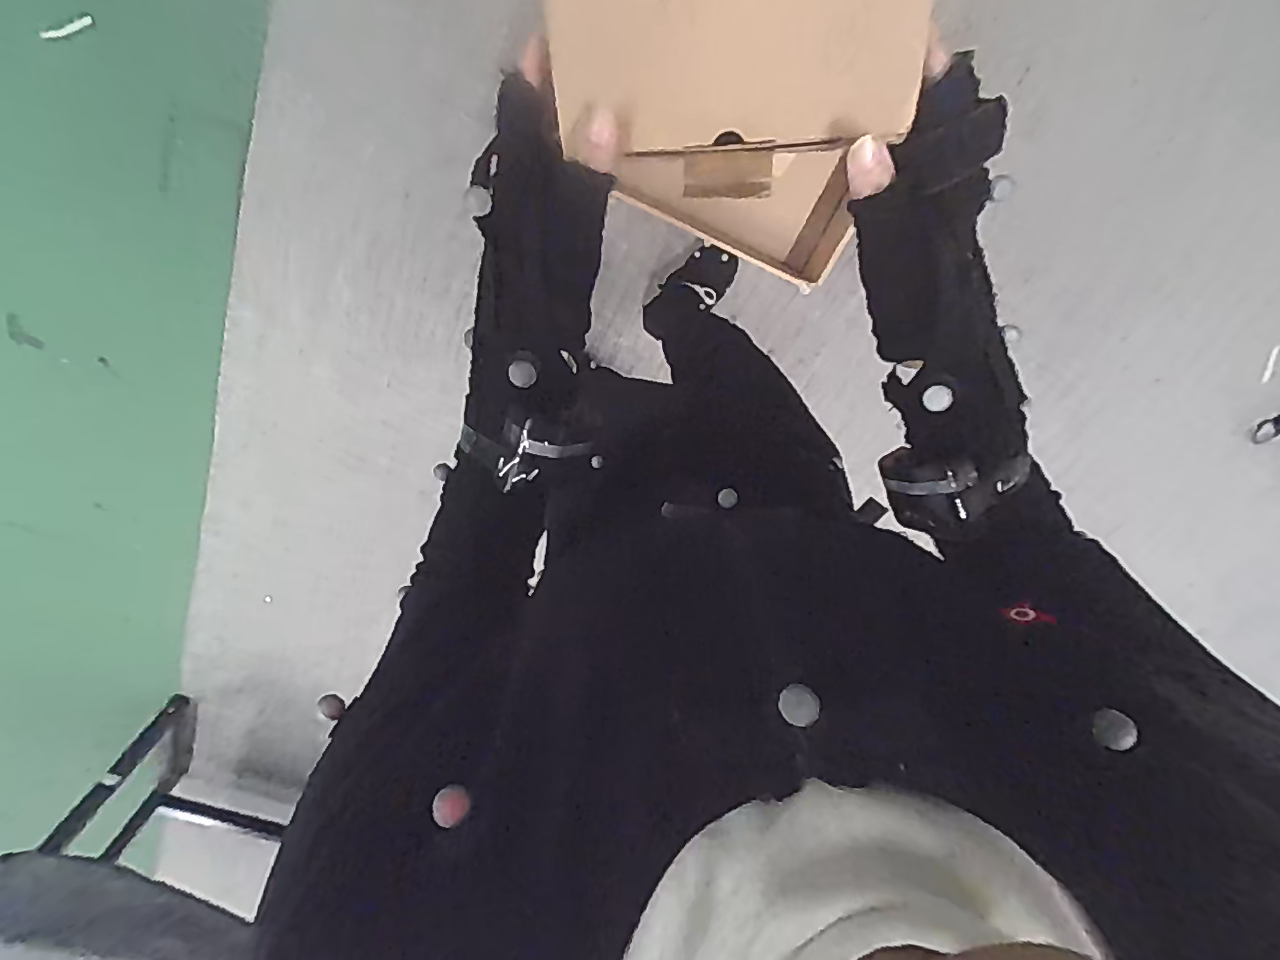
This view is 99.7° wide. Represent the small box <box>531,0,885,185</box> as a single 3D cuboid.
[{"bbox_3d":[0.039,-0.279,0.307,0.168,0.176,0.179,-1,120,10],"label":"small box"}]

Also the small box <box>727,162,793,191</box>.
[{"bbox_3d":[0.185,-0.585,0.853,0.168,0.176,0.179,29,115,-14],"label":"small box"}]
